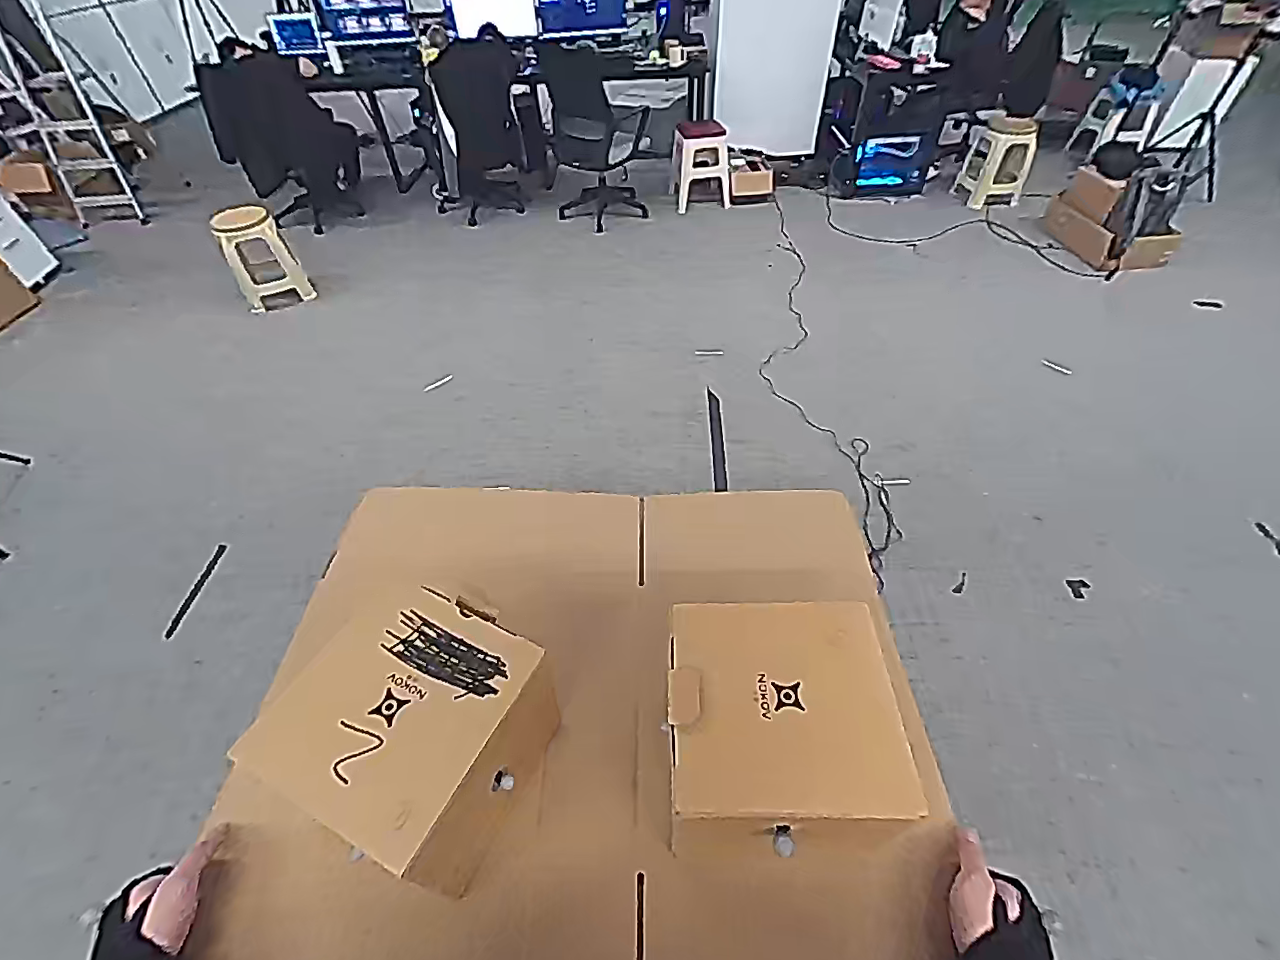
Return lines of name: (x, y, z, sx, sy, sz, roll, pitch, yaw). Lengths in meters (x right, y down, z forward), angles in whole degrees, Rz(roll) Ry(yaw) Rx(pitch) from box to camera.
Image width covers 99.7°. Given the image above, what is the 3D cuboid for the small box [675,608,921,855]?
small box: (0.121, 0.233, 0.499, 0.179, 0.176, 0.168, -2, 46, 4)
